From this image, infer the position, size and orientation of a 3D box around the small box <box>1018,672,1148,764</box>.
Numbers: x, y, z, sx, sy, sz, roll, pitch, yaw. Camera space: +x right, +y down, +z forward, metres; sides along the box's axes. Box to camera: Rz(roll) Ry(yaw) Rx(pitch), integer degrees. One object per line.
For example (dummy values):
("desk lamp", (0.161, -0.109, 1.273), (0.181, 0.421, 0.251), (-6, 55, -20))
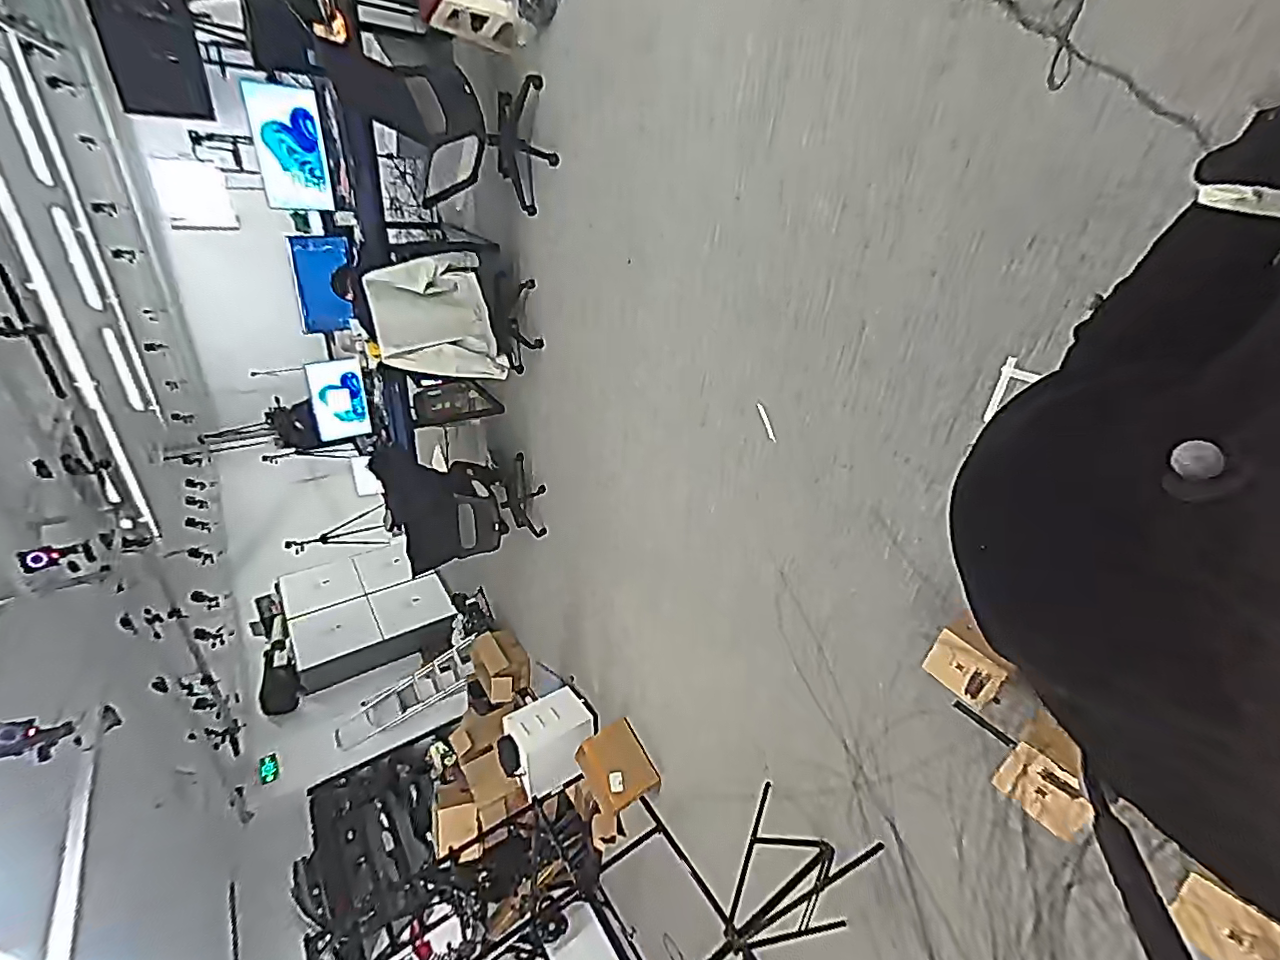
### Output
("small box", (1.084, 0.611, 1.323), (0.168, 0.176, 0.179), (40, 134, 39))

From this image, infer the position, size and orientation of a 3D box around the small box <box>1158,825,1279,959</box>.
("small box", (1.145, 0.809, 1.023), (0.179, 0.176, 0.168), (27, 125, 49))

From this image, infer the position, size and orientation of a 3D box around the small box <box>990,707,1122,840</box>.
("small box", (0.953, 0.661, 1.236), (0.168, 0.176, 0.179), (38, 134, 42))
